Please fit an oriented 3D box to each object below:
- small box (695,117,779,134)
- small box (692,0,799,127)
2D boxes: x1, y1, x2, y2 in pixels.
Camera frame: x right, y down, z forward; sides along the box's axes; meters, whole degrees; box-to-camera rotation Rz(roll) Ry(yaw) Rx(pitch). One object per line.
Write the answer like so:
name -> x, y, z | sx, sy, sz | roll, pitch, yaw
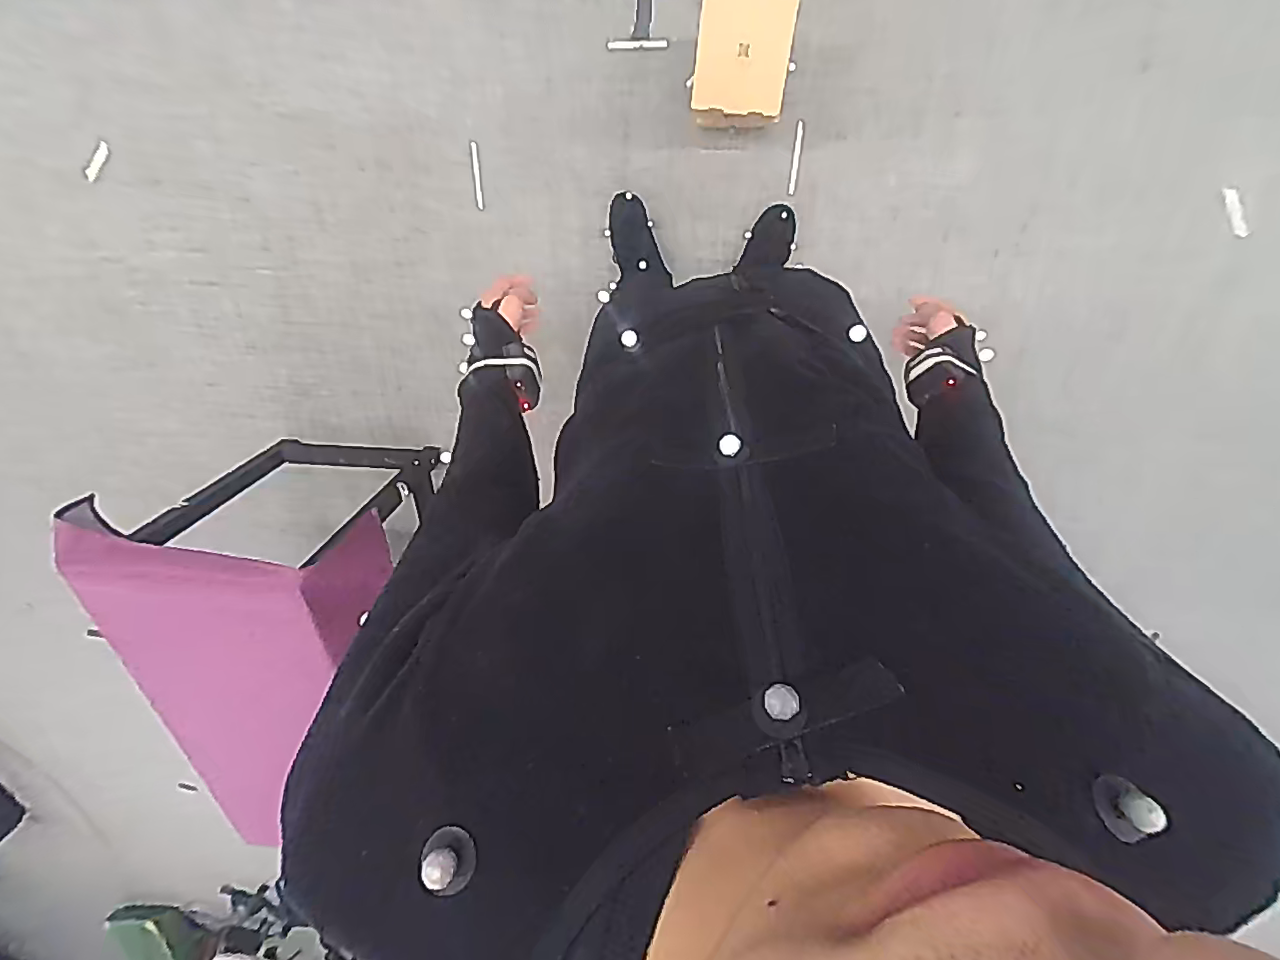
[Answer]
small box -> 0.214, -0.858, 1.176 | 0.179, 0.176, 0.168 | 3, 120, 6
small box -> 0.191, -0.788, 1.030 | 0.168, 0.176, 0.179 | 7, 121, 3
